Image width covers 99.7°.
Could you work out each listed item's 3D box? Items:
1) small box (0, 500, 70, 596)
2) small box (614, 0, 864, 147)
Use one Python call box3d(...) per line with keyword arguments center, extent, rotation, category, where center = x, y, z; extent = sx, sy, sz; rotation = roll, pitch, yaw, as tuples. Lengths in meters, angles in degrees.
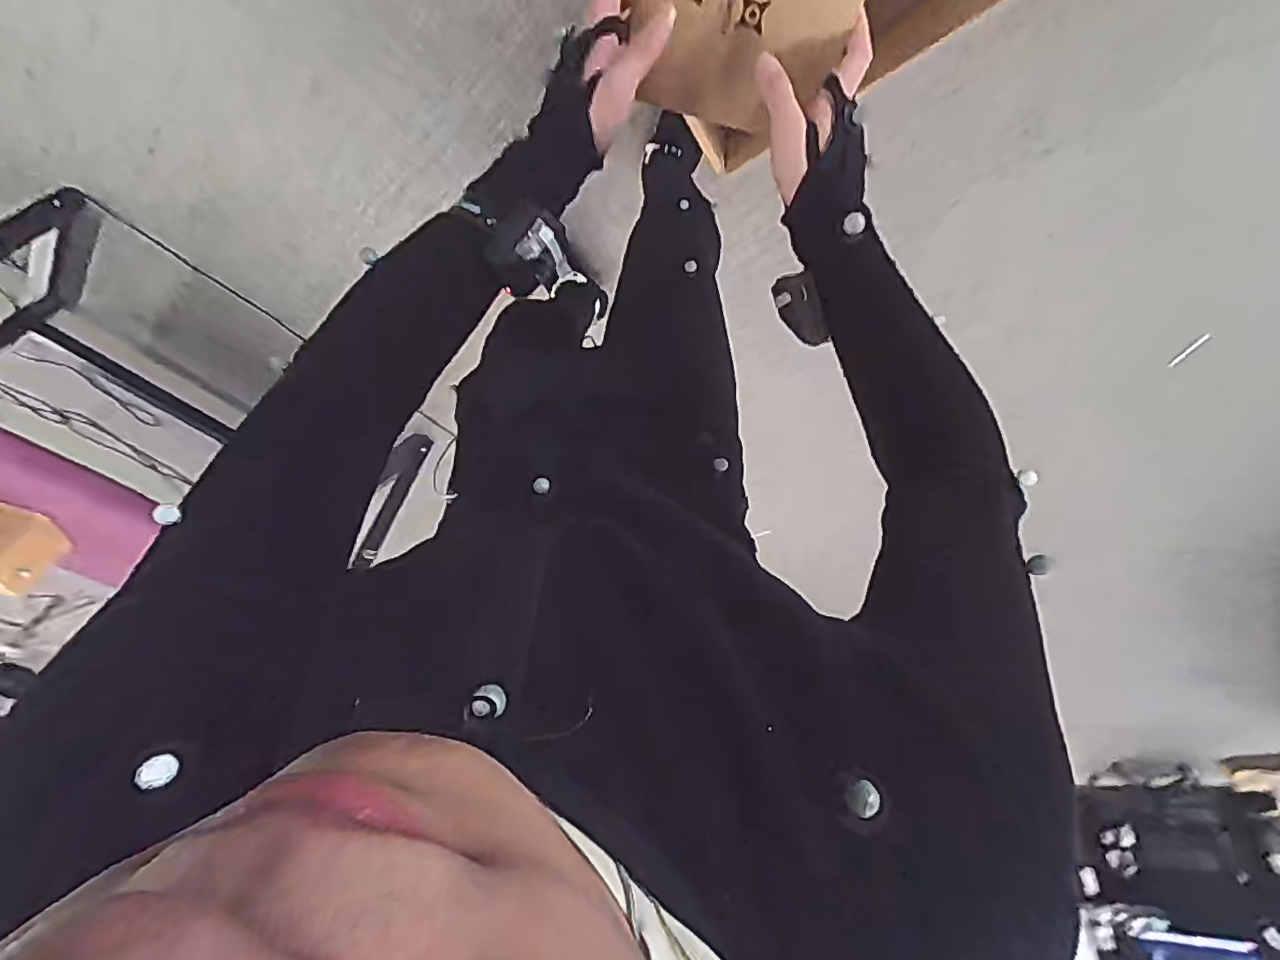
box3d(center=(-1.602, 0.159, 1.345), extent=(0.168, 0.176, 0.179), rotation=(20, 140, -14), category="small box")
box3d(center=(0.086, -0.422, 0.449), extent=(0.179, 0.176, 0.168), rotation=(12, 150, -3), category="small box")
